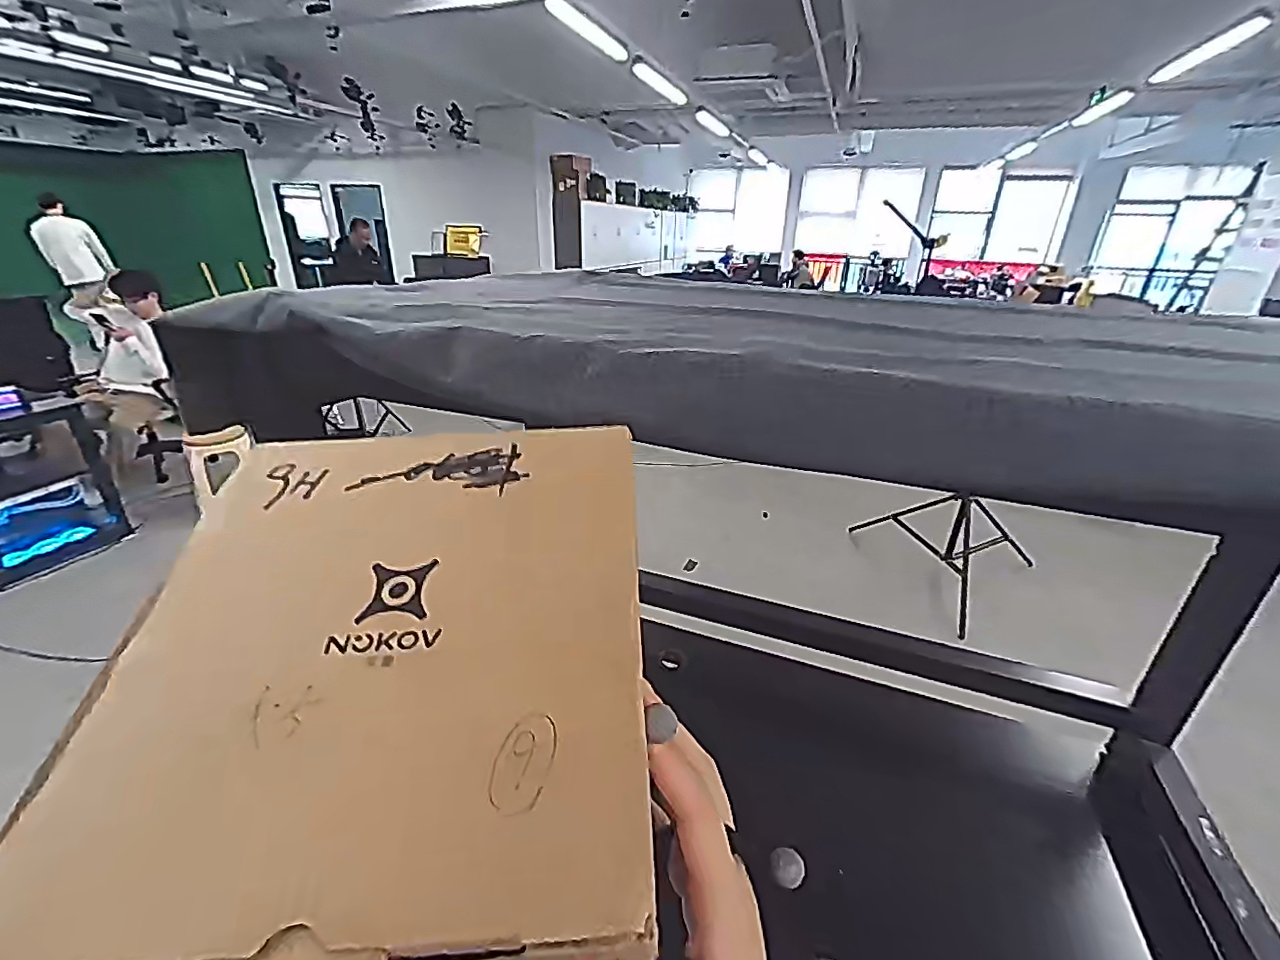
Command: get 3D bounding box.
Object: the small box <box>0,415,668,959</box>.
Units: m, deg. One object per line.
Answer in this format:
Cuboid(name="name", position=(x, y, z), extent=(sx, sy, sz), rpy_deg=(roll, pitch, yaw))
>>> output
Cuboid(name="small box", position=(-0.077, 0.094, 0.230), extent=(0.168, 0.176, 0.179), rpy_deg=(-2, 48, -3))
